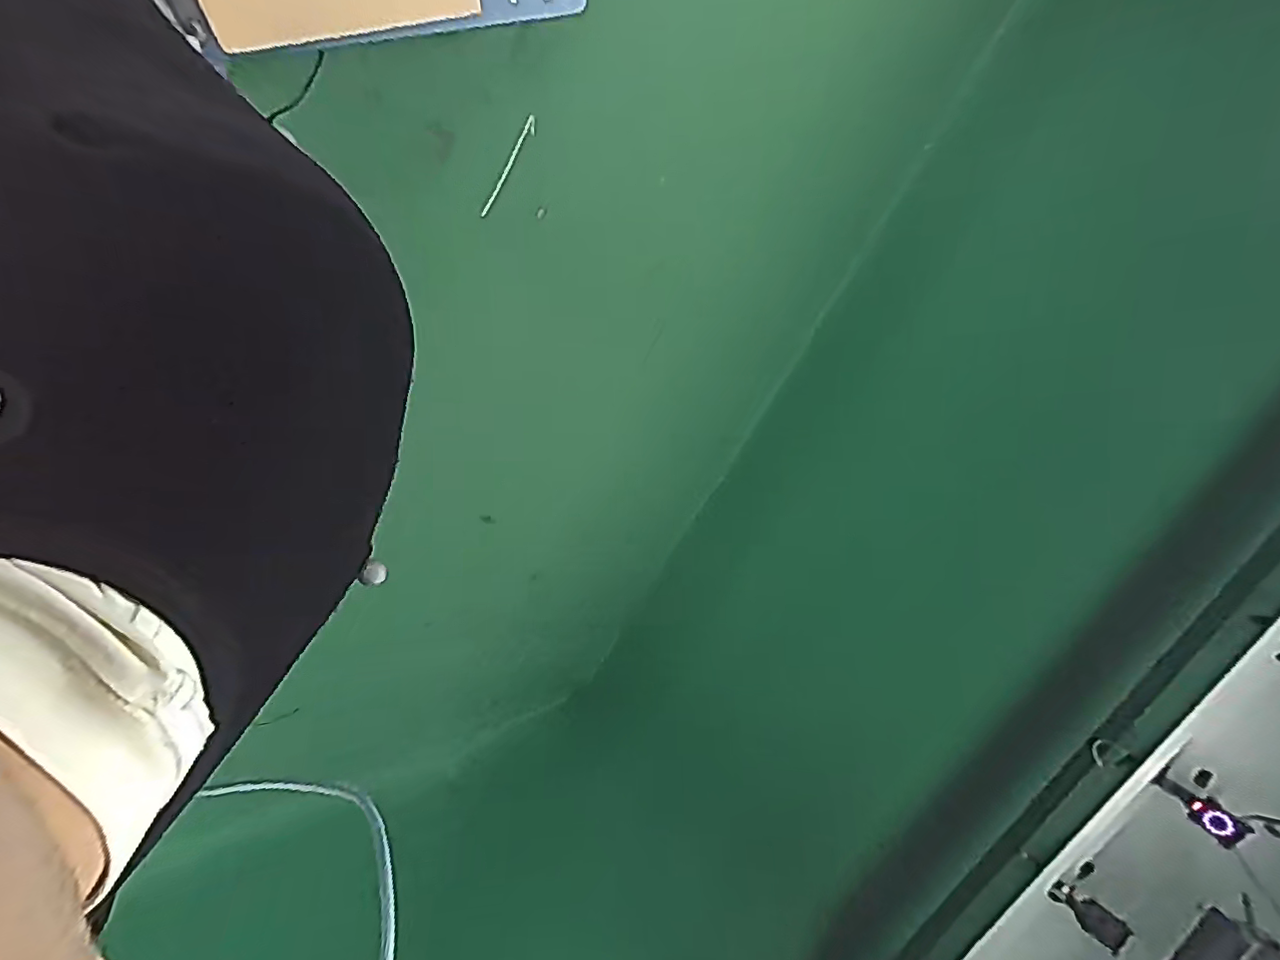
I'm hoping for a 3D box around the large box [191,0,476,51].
[{"bbox_3d":[-0.531,-0.898,0.824,0.408,0.320,0.320,-28,142,-20],"label":"large box"}]
